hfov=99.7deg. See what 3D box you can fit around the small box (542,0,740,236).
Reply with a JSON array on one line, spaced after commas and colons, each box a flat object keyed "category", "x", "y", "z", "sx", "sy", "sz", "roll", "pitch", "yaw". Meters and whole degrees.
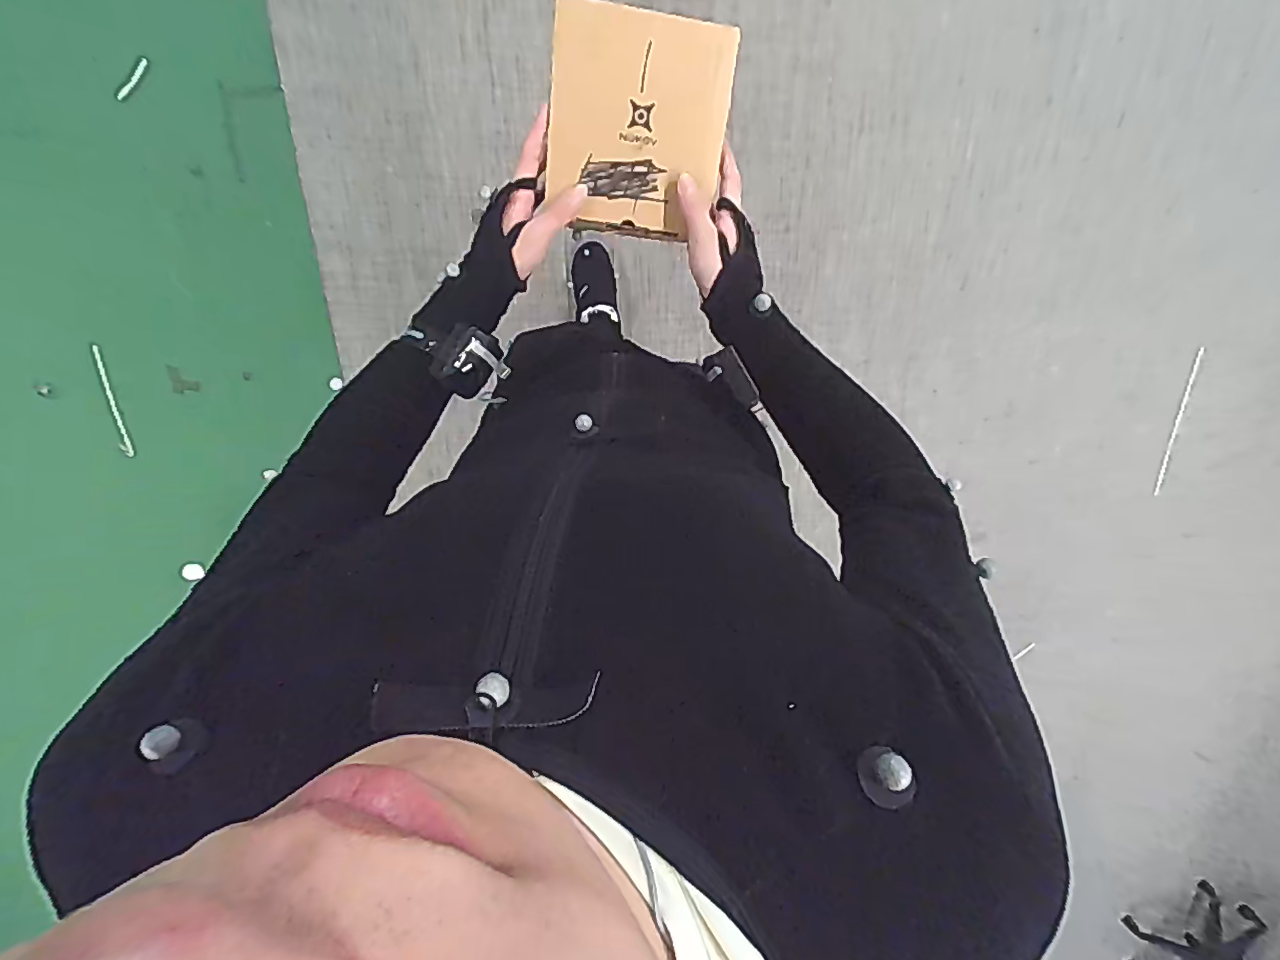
[{"category": "small box", "x": -0.010, "y": -0.362, "z": 0.569, "sx": 0.168, "sy": 0.176, "sz": 0.179, "roll": 4, "pitch": 112, "yaw": -9}]
